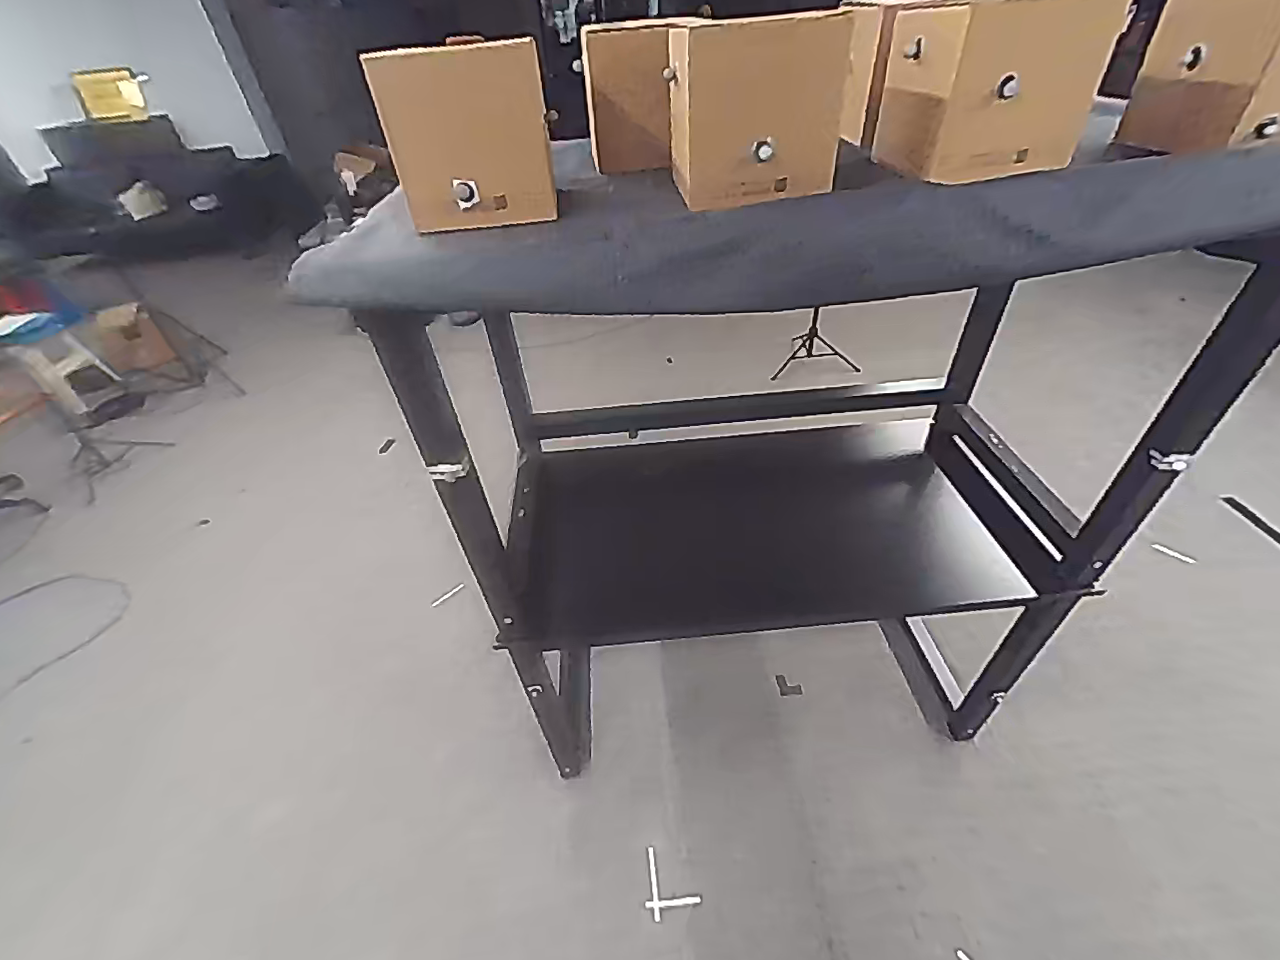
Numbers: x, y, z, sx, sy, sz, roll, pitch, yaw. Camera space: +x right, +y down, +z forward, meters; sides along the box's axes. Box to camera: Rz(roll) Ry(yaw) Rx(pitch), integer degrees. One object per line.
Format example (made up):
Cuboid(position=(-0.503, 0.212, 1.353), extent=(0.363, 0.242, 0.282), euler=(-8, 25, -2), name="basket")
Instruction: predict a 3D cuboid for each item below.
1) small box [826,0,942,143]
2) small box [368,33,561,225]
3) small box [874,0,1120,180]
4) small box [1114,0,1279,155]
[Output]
Cuboid(position=(0.404, -0.635, 0.841), extent=(0.168, 0.176, 0.179), euler=(-6, 40, -1), name="small box")
Cuboid(position=(-0.190, -0.416, 0.645), extent=(0.168, 0.176, 0.179), euler=(-8, 39, -3), name="small box")
Cuboid(position=(0.405, -0.469, 0.648), extent=(0.168, 0.176, 0.179), euler=(-6, 39, 0), name="small box")
Cuboid(position=(0.720, -0.484, 0.626), extent=(0.168, 0.176, 0.179), euler=(-4, 37, 2), name="small box")
